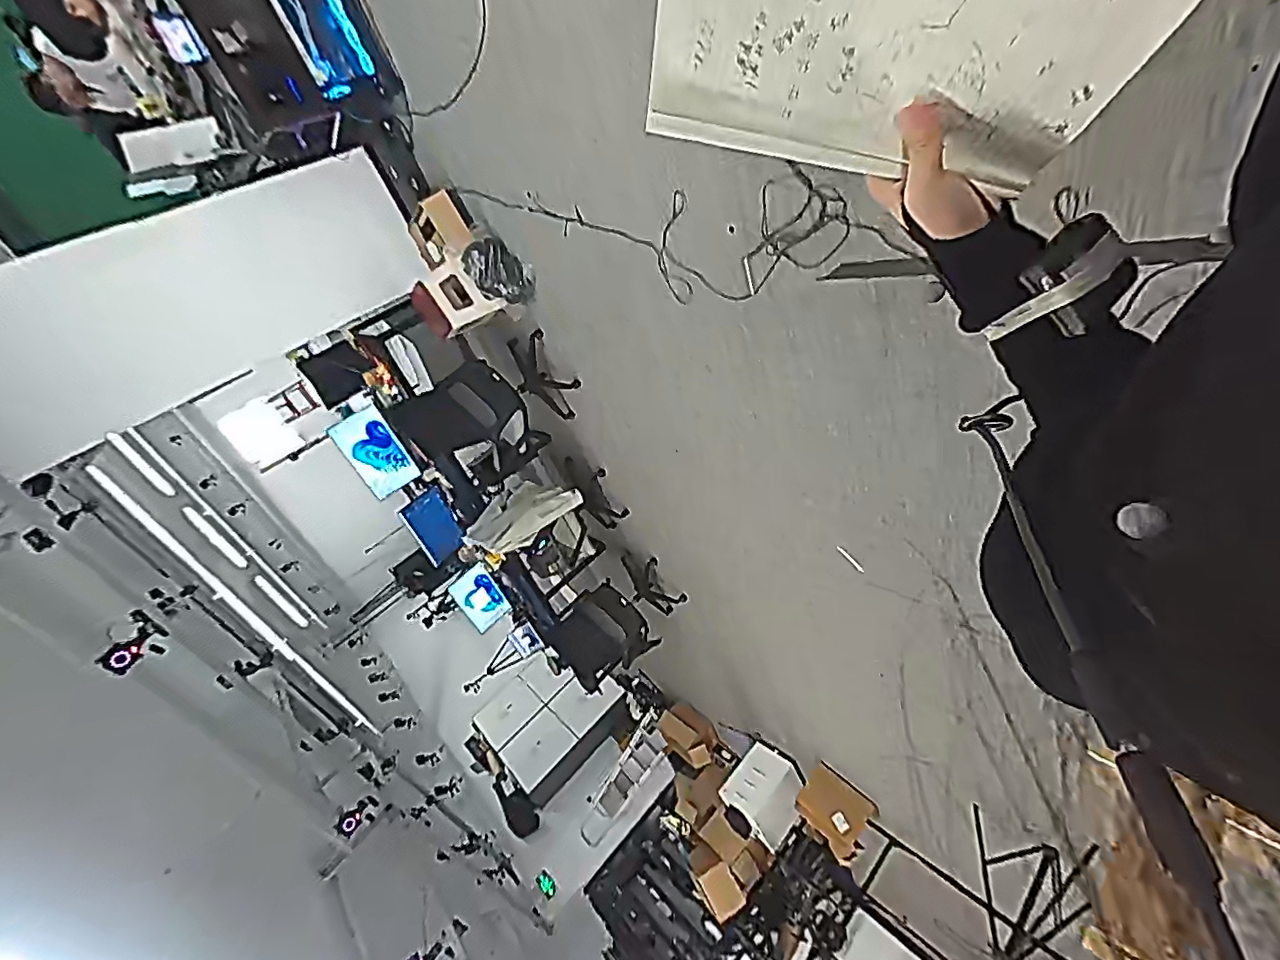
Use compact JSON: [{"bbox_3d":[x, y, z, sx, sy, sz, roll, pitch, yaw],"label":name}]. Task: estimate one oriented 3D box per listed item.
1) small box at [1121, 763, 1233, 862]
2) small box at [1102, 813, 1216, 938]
[{"bbox_3d":[1.448,0.908,1.459,0.168,0.176,0.179,24,145,43],"label":"small box"},{"bbox_3d":[1.337,1.011,1.395,0.168,0.176,0.179,22,142,46],"label":"small box"}]
